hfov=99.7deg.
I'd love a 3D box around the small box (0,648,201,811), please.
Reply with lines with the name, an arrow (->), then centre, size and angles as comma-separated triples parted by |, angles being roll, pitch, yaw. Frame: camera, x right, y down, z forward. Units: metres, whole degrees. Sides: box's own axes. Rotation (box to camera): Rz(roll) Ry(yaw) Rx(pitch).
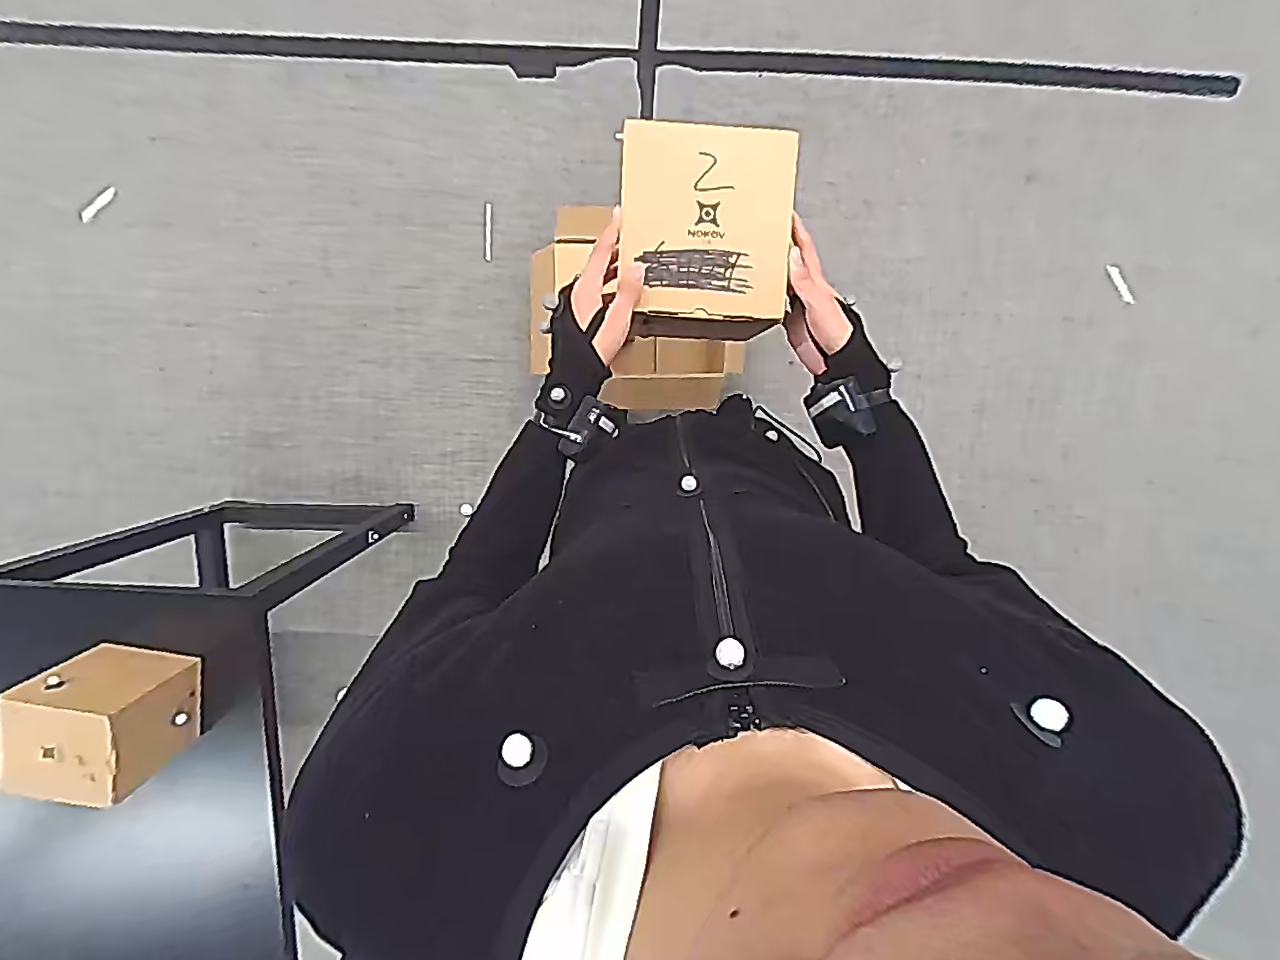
small box -> -0.876, 0.397, 0.887 | 0.179, 0.176, 0.168 | 10, 101, -2
